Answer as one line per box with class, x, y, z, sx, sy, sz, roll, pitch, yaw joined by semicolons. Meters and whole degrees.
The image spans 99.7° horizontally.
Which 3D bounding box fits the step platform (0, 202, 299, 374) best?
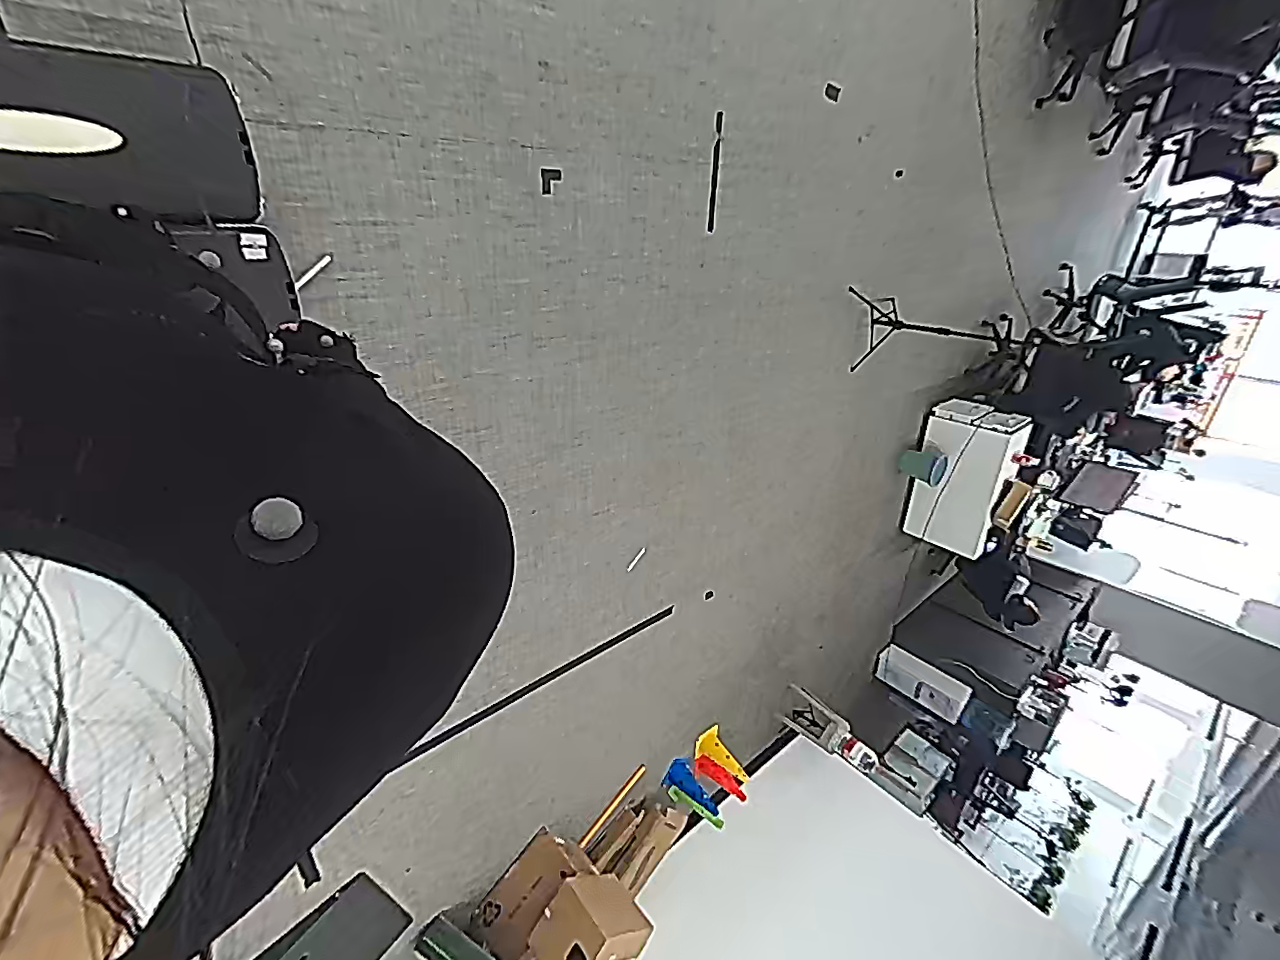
step platform;-1.075;-0.383;1.060;0.684;0.204;0.286;-19;121;-34
